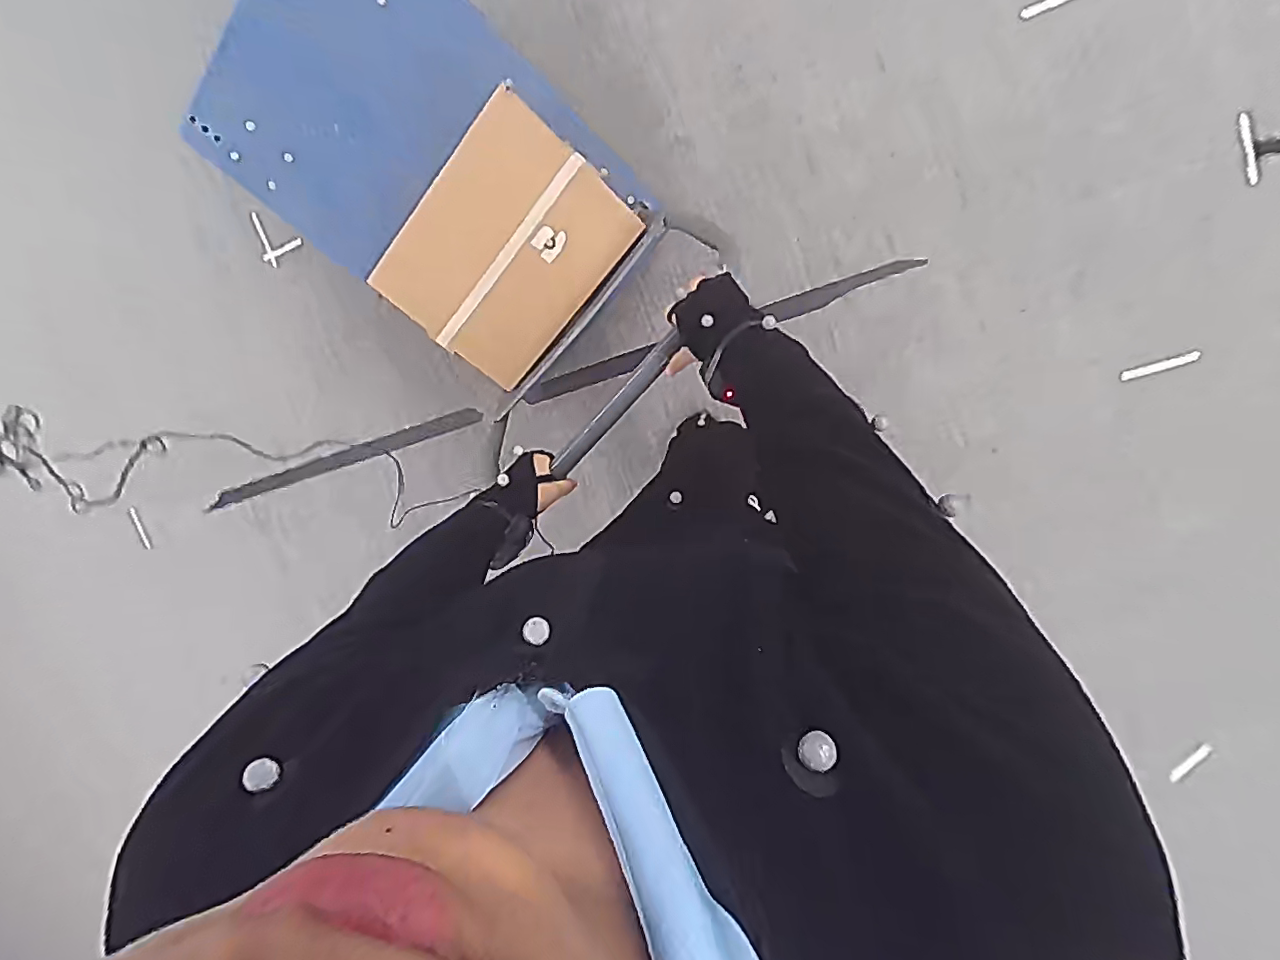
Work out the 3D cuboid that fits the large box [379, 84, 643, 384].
[{"bbox_3d":[-0.247,-0.473,1.106,0.320,0.320,0.408,37,106,-21],"label":"large box"}]
